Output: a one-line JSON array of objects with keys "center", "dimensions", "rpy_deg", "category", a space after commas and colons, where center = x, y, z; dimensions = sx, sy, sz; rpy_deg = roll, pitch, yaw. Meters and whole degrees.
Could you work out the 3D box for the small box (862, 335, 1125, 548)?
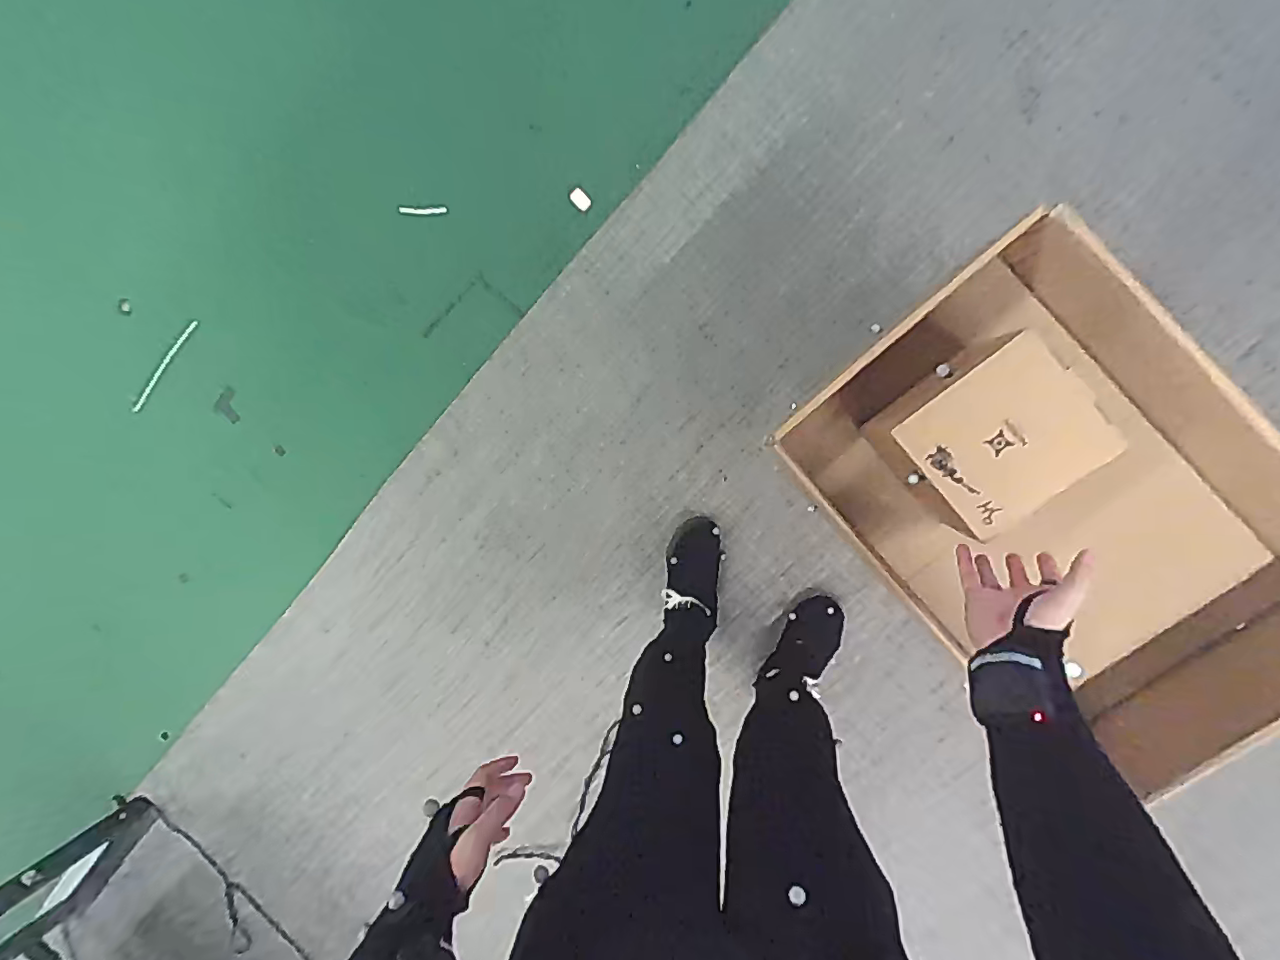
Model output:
[{"center": [0.404, -0.048, 0.658], "dimensions": [0.179, 0.176, 0.168], "rpy_deg": [-39, 88, 12], "category": "small box"}]
